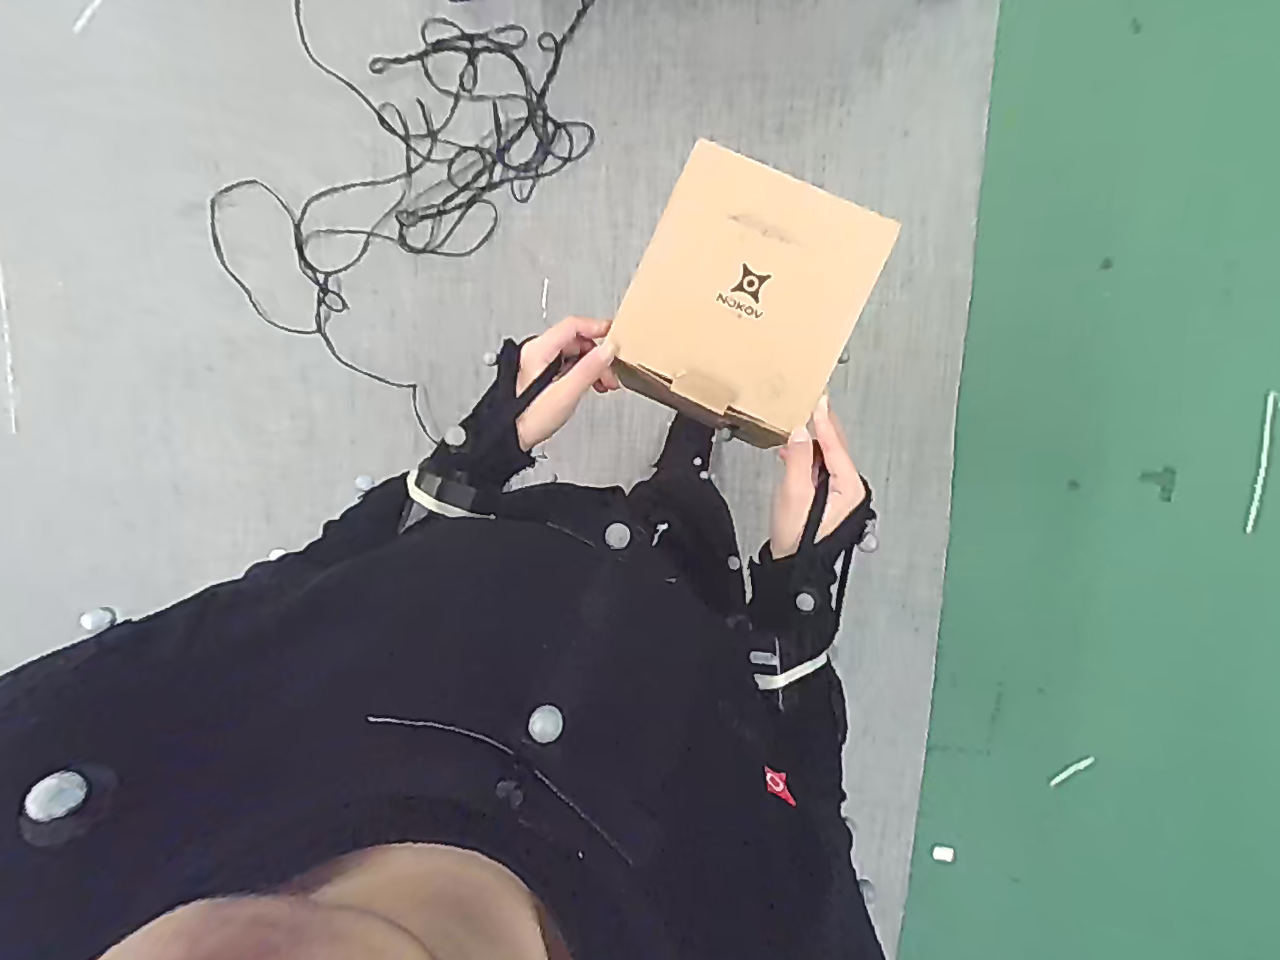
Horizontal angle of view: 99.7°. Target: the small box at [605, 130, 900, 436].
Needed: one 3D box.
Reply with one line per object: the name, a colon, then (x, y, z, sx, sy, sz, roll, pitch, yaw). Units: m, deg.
small box: (0.086, -0.148, 0.478, 0.168, 0.176, 0.179, 25, 92, 1)
